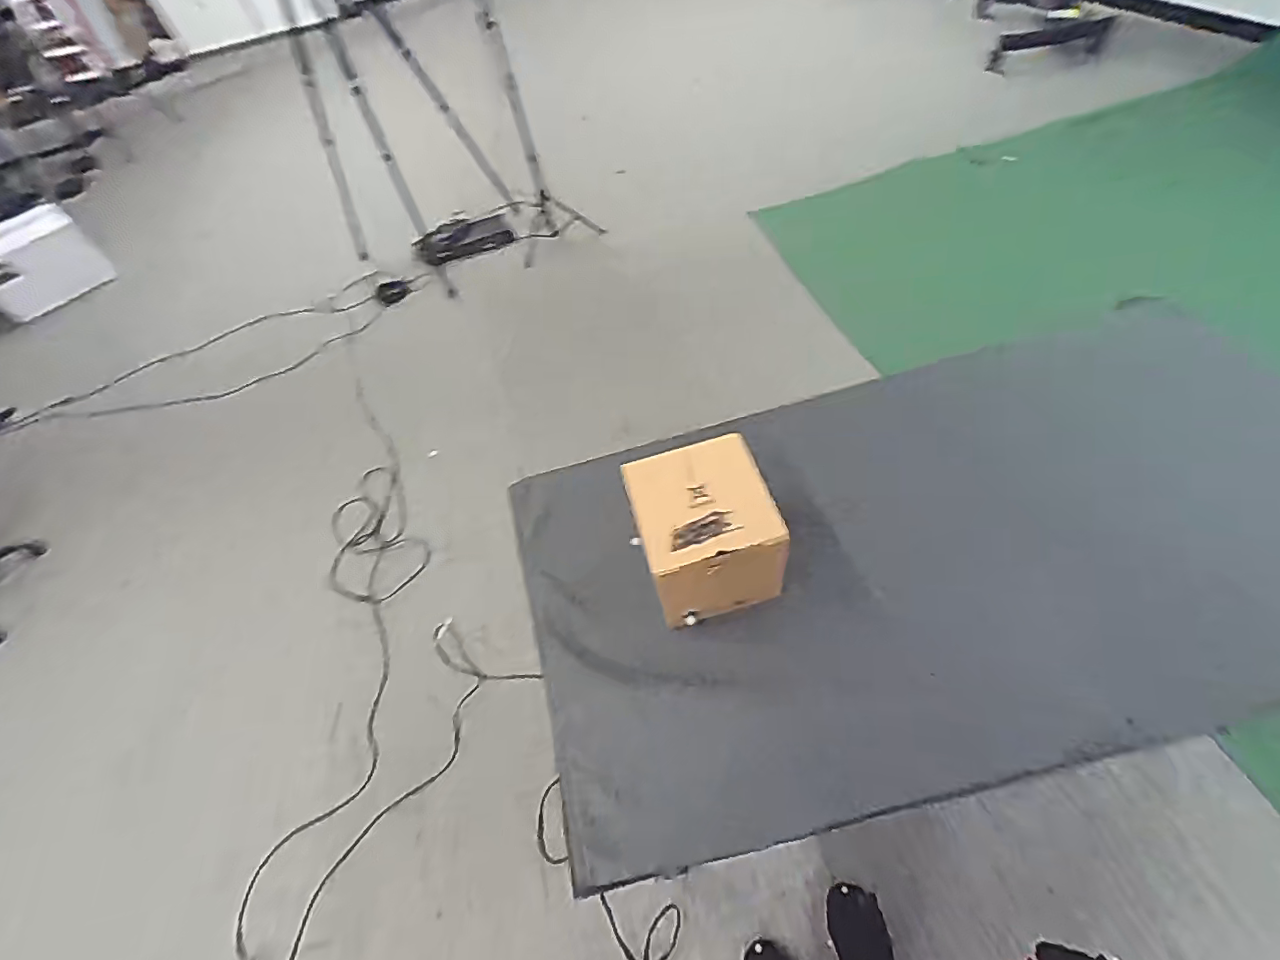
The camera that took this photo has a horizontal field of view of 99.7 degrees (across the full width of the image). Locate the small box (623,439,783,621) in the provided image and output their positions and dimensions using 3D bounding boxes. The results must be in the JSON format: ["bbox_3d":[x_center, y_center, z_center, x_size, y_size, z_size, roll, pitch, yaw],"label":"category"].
[{"bbox_3d":[0.086,0.077,0.747,0.168,0.176,0.179,-16,51,-2],"label":"small box"}]
